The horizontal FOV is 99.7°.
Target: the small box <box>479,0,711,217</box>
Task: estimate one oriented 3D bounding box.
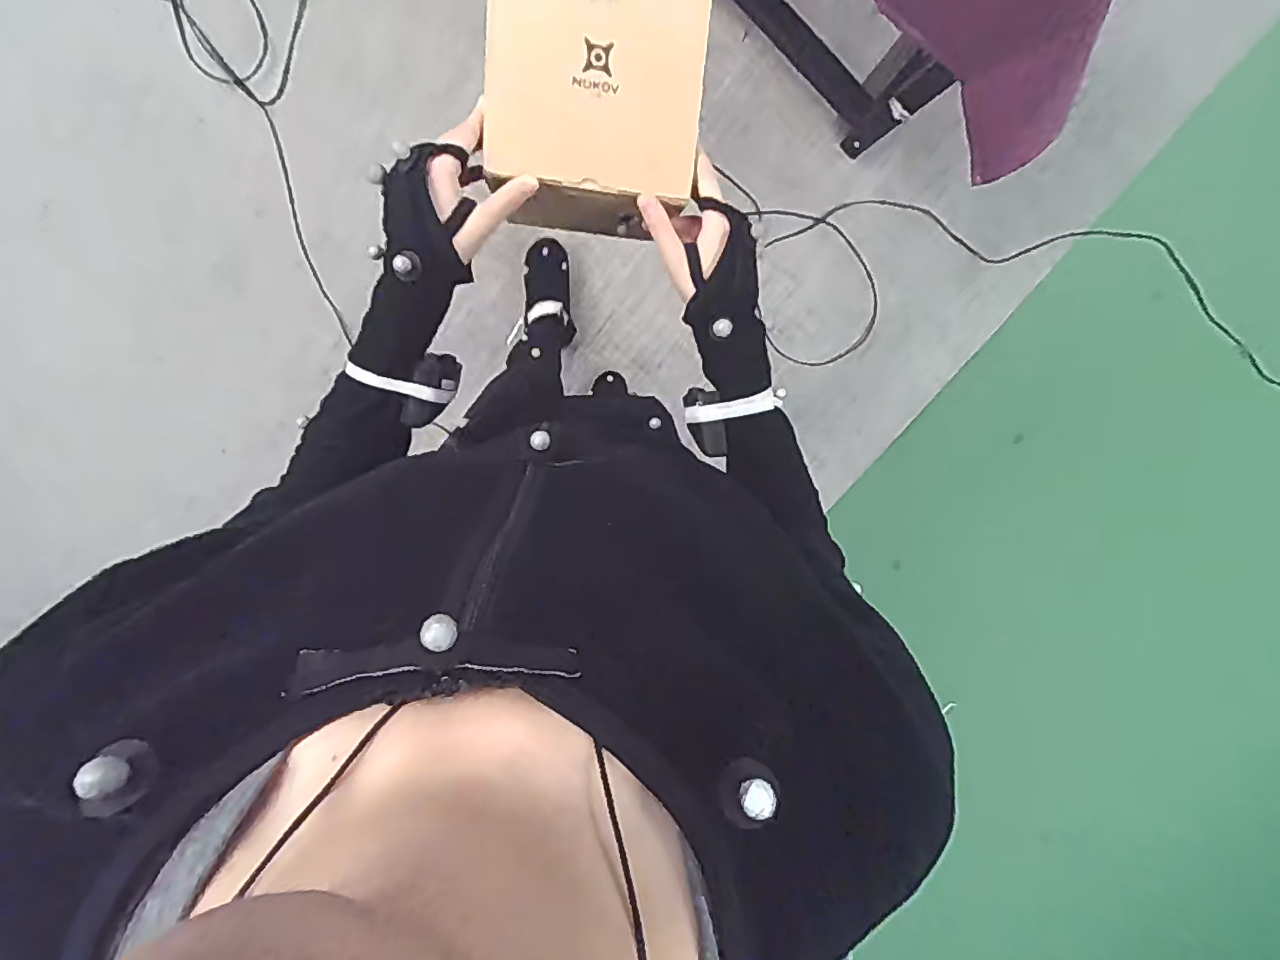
[{"bbox_3d":[-0.041,-0.349,0.476,0.168,0.176,0.179,4,103,-9],"label":"small box"}]
